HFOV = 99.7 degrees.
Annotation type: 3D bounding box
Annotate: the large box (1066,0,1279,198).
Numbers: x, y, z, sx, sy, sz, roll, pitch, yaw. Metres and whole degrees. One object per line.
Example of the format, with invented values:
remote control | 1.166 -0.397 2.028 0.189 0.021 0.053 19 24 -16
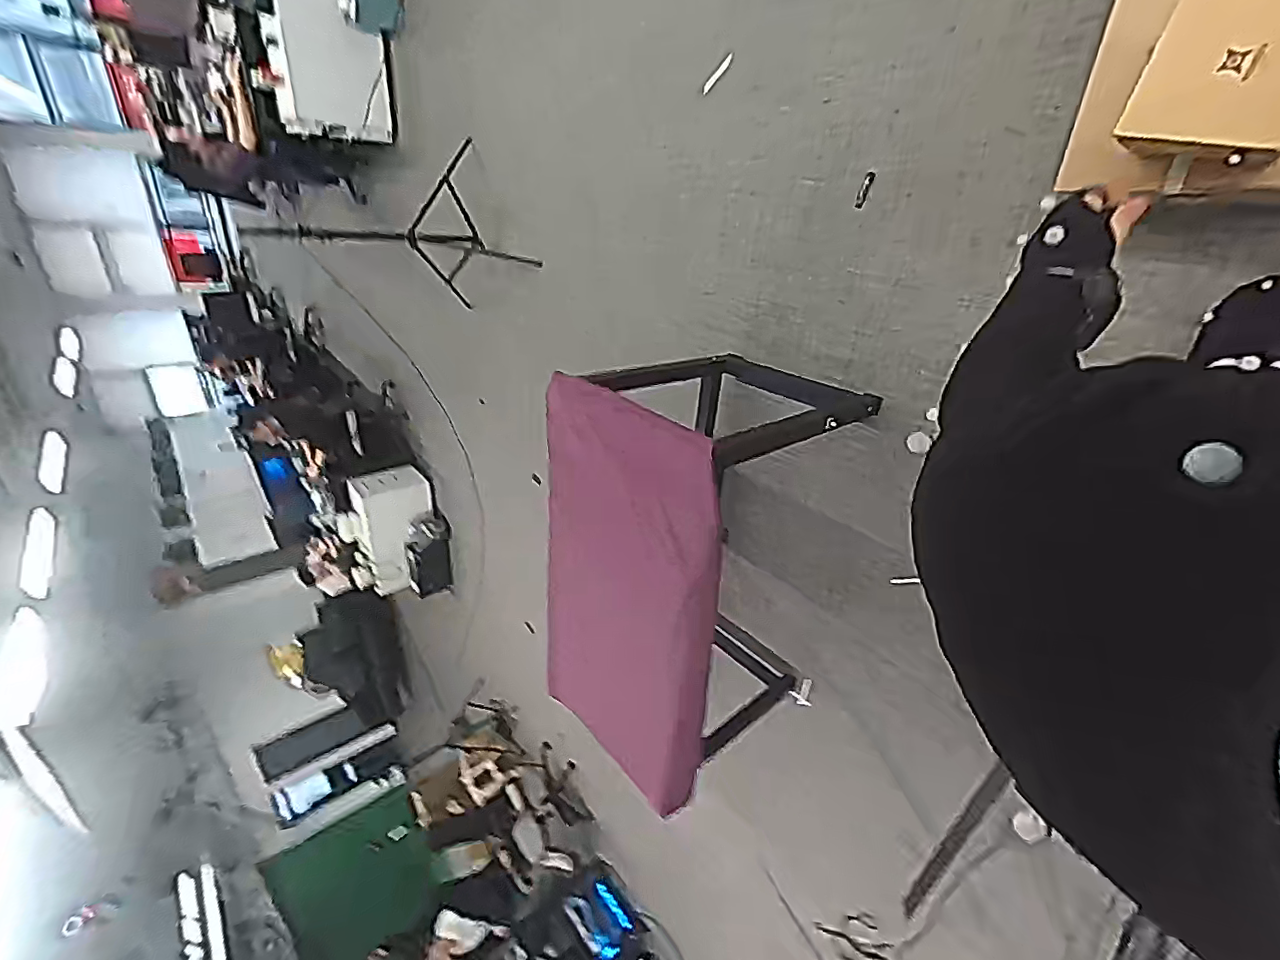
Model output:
large box | 0.929 -0.657 0.811 0.320 0.320 0.408 29 126 43
